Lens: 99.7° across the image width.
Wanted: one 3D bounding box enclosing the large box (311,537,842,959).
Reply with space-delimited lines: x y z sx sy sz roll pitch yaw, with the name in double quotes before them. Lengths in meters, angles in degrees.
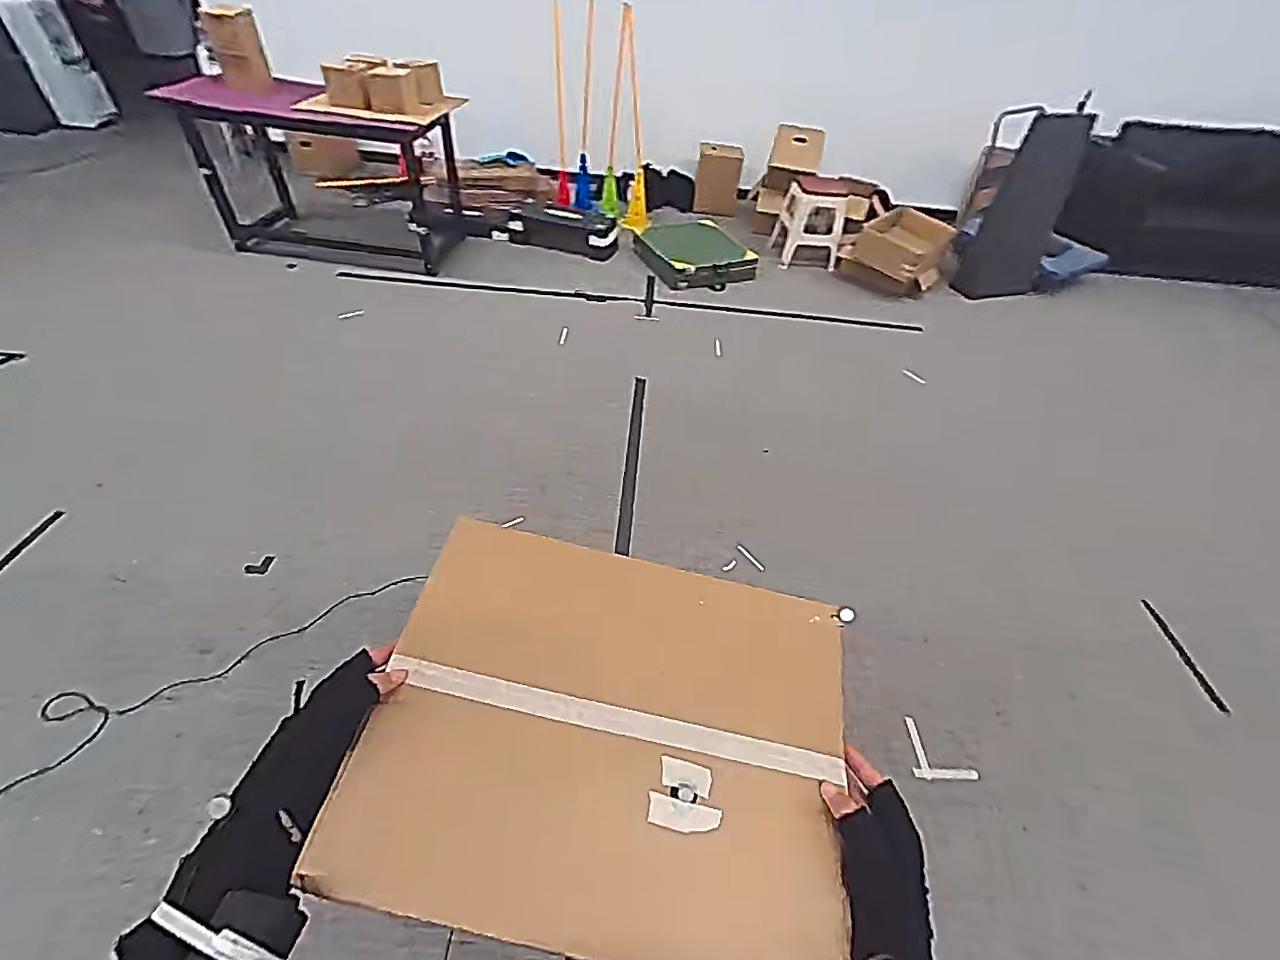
"large box" -0.044 0.304 0.598 0.408 0.320 0.320 13 54 -1
